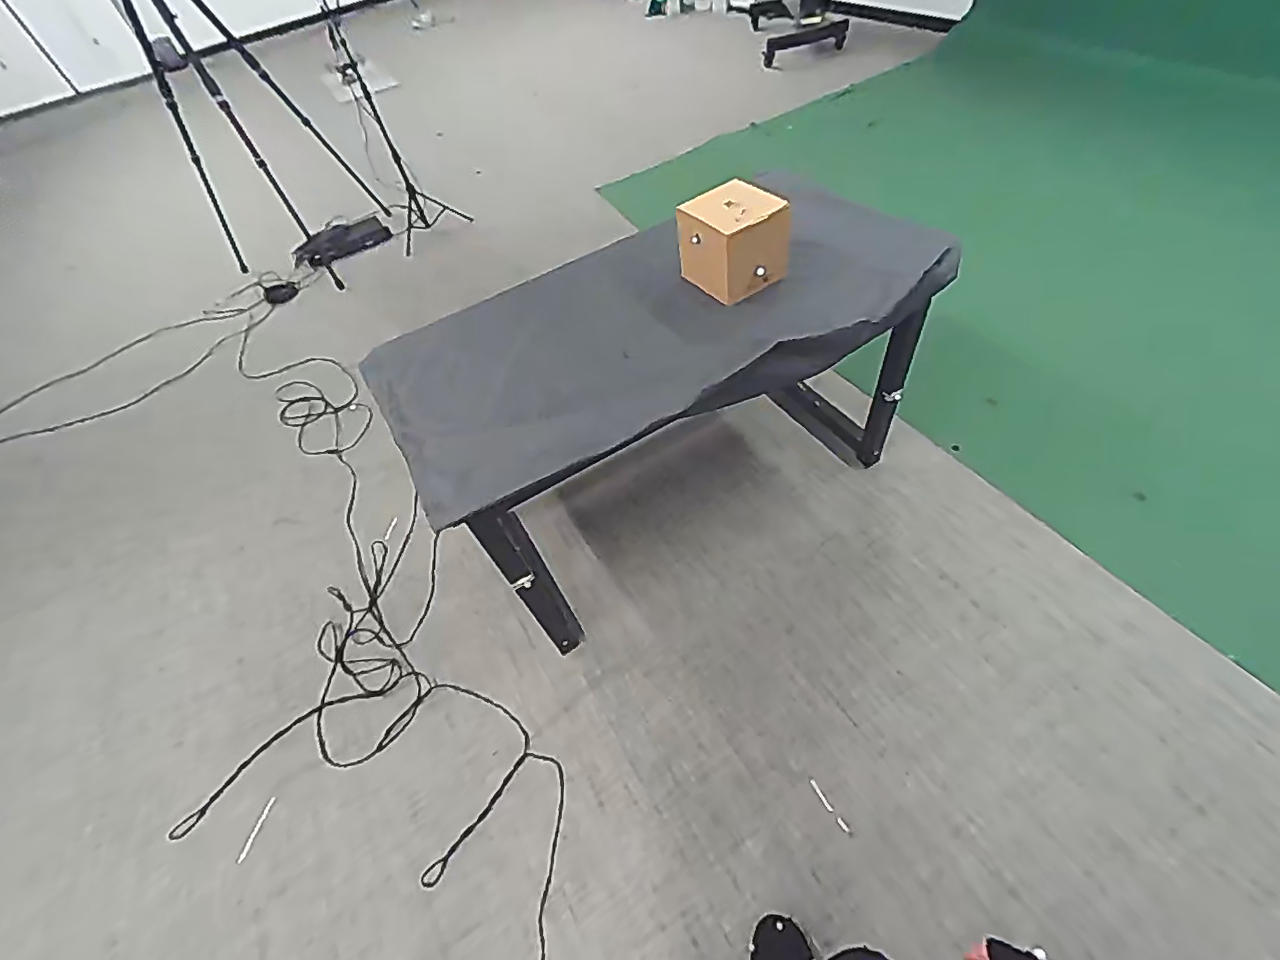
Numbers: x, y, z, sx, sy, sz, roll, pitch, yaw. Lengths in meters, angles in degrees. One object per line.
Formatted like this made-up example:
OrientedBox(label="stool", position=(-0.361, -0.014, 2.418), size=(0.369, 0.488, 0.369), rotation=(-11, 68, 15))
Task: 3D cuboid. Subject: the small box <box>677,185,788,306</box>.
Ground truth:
OrientedBox(label="small box", position=(0.201, -0.517, 1.197), size=(0.168, 0.176, 0.179), rotation=(-32, 54, -14))
